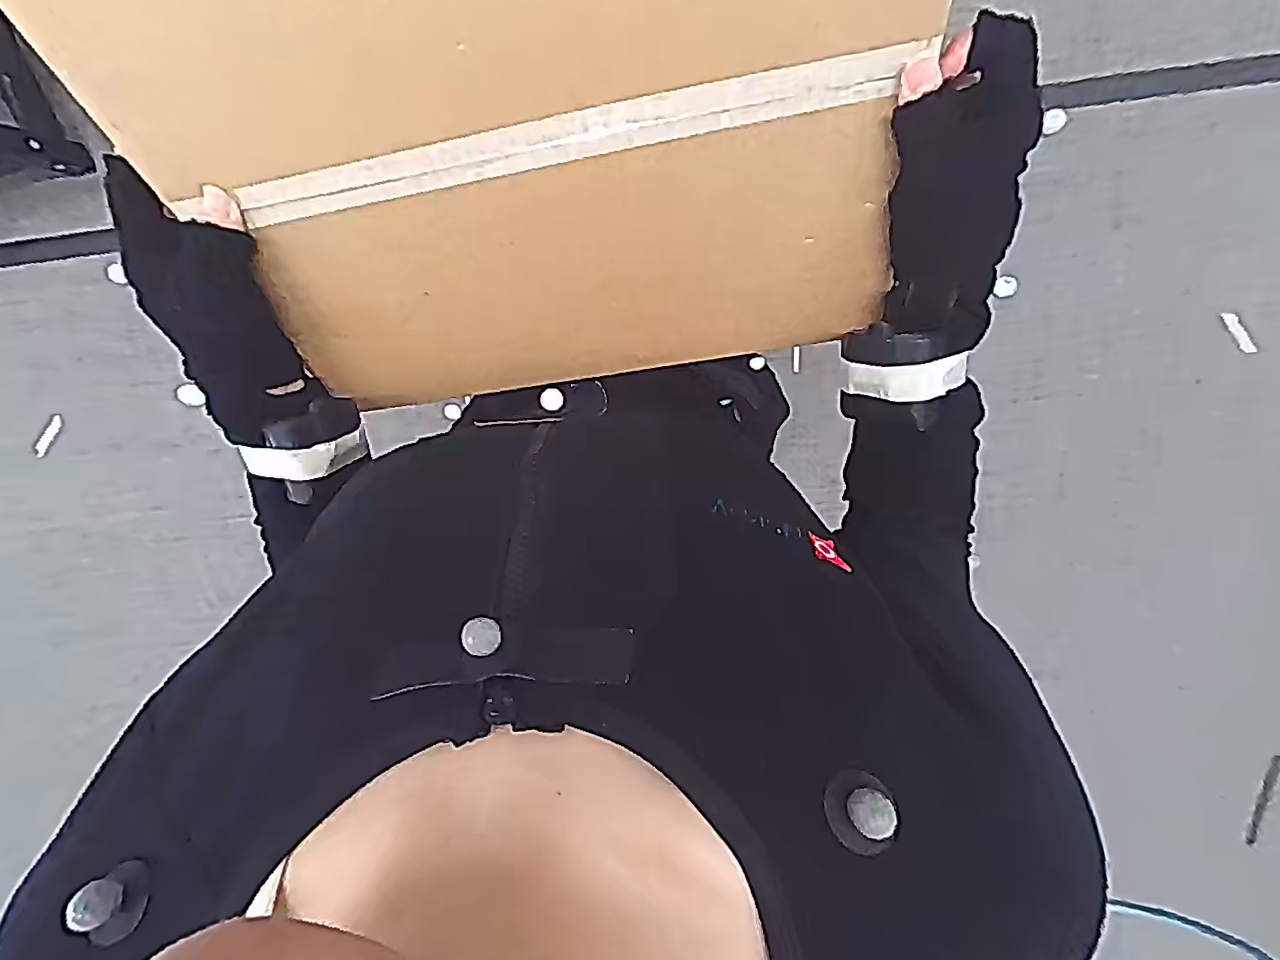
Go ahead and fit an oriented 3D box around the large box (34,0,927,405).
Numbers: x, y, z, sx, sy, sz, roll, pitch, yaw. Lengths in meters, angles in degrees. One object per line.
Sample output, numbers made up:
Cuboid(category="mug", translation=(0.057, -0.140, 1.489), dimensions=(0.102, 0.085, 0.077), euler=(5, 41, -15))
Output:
Cuboid(category="large box", translation=(-0.064, -0.294, 0.385), dimensions=(0.408, 0.320, 0.320), euler=(-7, 142, 7))
